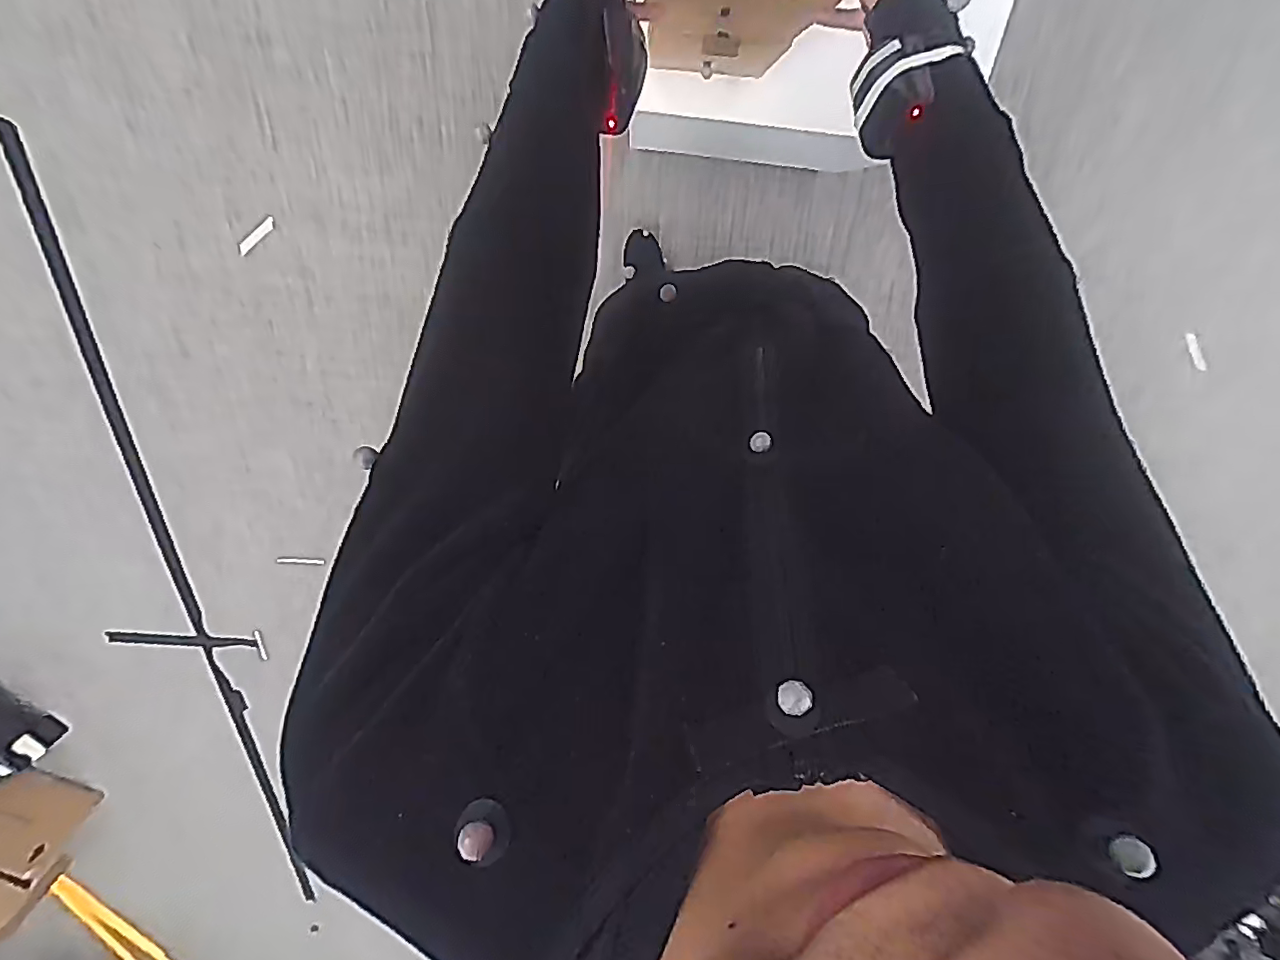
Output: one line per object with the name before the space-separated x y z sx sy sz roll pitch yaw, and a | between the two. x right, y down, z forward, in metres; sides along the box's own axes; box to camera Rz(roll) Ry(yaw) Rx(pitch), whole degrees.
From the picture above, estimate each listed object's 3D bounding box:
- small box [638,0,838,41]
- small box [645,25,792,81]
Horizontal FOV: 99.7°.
small box | 0.092 -0.525 0.494 0.179 0.176 0.168 5 120 -2
small box | 0.095 -0.605 0.643 0.168 0.176 0.179 4 117 -2
